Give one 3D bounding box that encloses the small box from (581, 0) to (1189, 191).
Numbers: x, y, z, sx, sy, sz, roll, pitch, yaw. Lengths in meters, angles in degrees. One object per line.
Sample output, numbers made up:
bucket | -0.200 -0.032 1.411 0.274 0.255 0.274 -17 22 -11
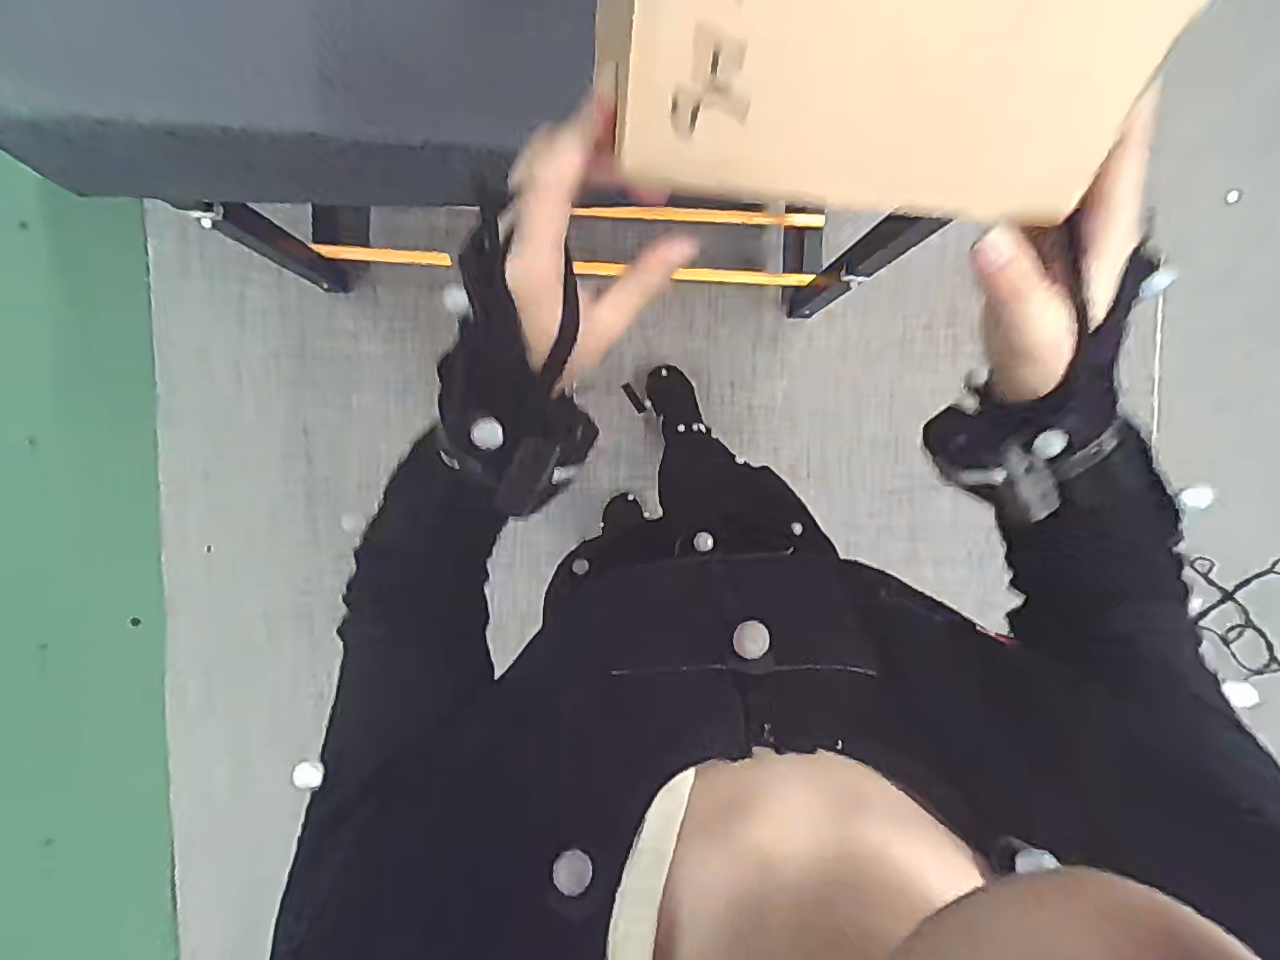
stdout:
small box | 0.074 -0.219 0.188 0.179 0.176 0.168 0 132 -9
